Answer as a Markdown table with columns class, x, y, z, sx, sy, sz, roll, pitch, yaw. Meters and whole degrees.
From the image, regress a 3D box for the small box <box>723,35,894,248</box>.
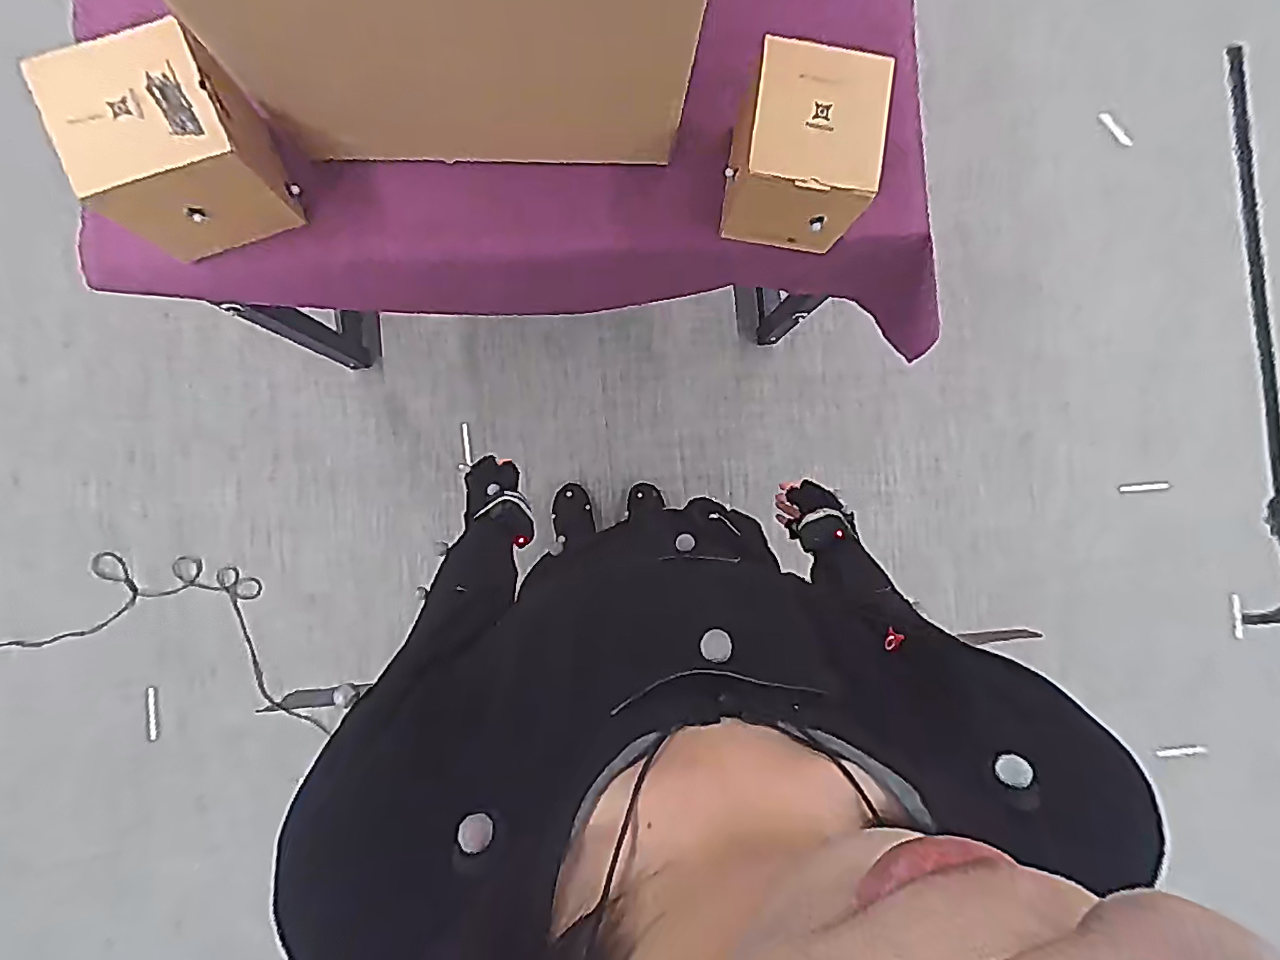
| class | x | y | z | sx | sy | sz | roll | pitch | yaw |
| --- | --- | --- | --- | --- | --- | --- | --- | --- | --- |
| small box | 0.217 | -0.443 | 0.738 | 0.168 | 0.176 | 0.179 | 7 | 87 | -4 |
